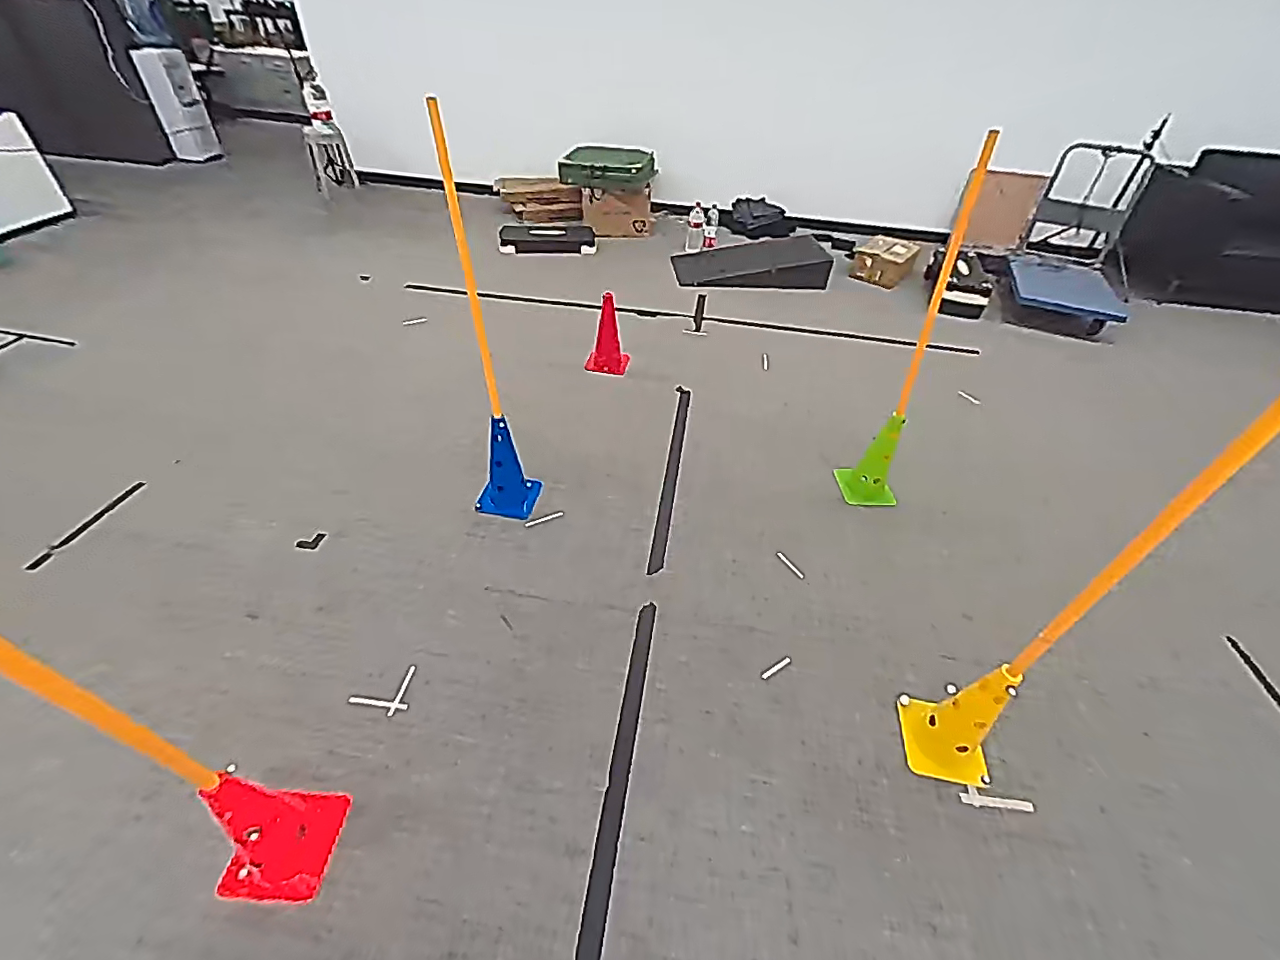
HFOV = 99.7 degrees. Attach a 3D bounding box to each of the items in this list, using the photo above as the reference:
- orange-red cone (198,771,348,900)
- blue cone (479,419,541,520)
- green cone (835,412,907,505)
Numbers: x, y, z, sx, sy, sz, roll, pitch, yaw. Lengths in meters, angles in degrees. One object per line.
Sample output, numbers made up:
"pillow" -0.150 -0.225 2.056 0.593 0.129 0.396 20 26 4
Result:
"orange-red cone" -0.741 0.641 1.036 0.199 0.360 0.198 6 42 0
"blue cone" -0.462 -0.054 1.856 0.193 0.380 0.192 10 43 6
"green cone" 0.894 -0.101 2.007 0.200 0.368 0.202 1 44 -4
